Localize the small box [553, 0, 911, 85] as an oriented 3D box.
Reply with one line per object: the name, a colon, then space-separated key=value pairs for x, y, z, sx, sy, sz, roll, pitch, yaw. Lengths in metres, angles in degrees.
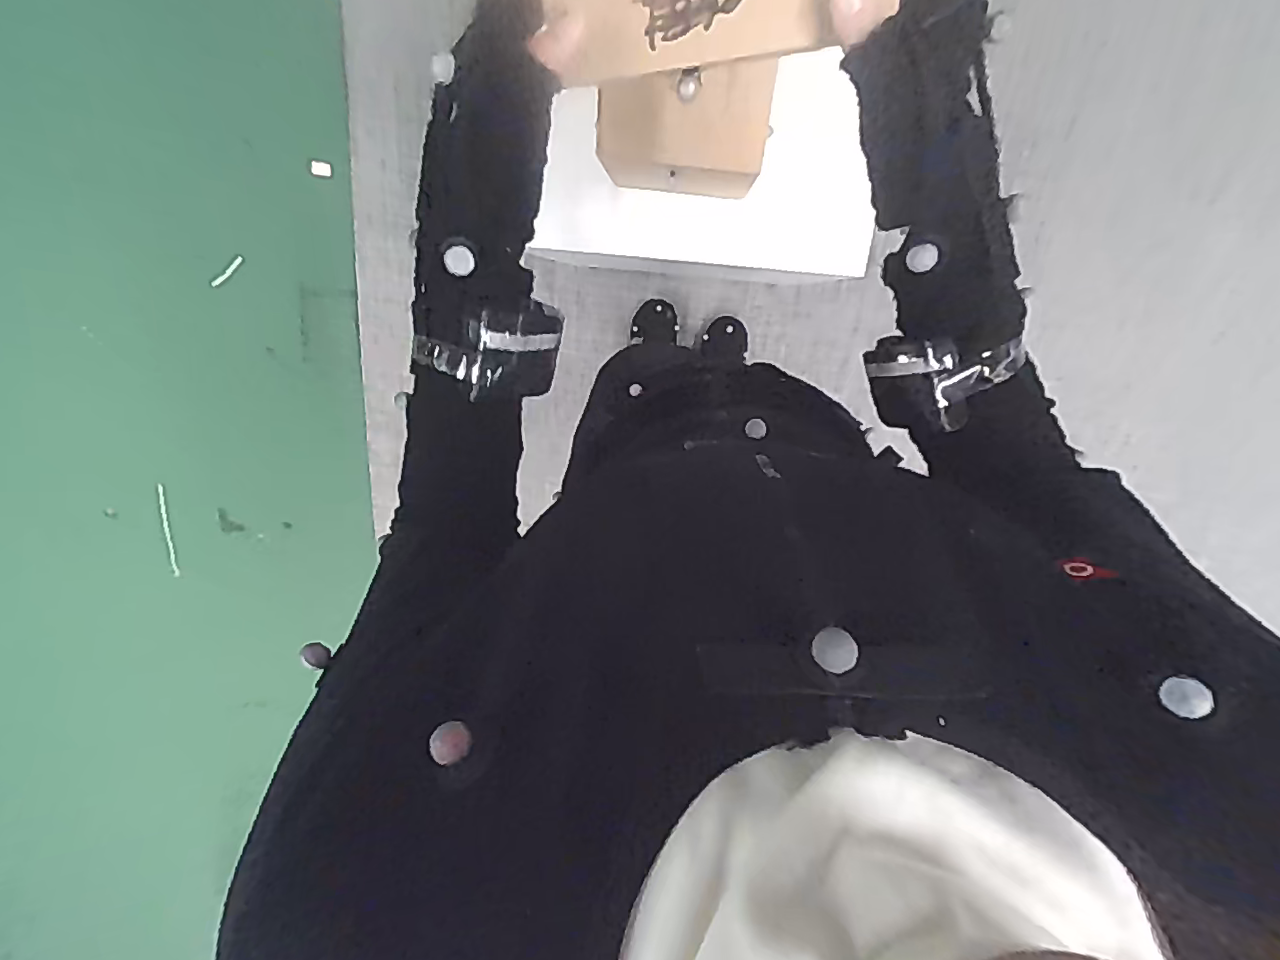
small box: x=0.035 y=-0.322 z=0.275 sx=0.168 sy=0.176 sz=0.179 roll=-6 pitch=127 yaw=9

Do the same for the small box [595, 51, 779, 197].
small box: x=0.054 y=-0.432 z=0.614 sx=0.179 sy=0.176 sz=0.168 roll=8 pitch=110 yaw=2
